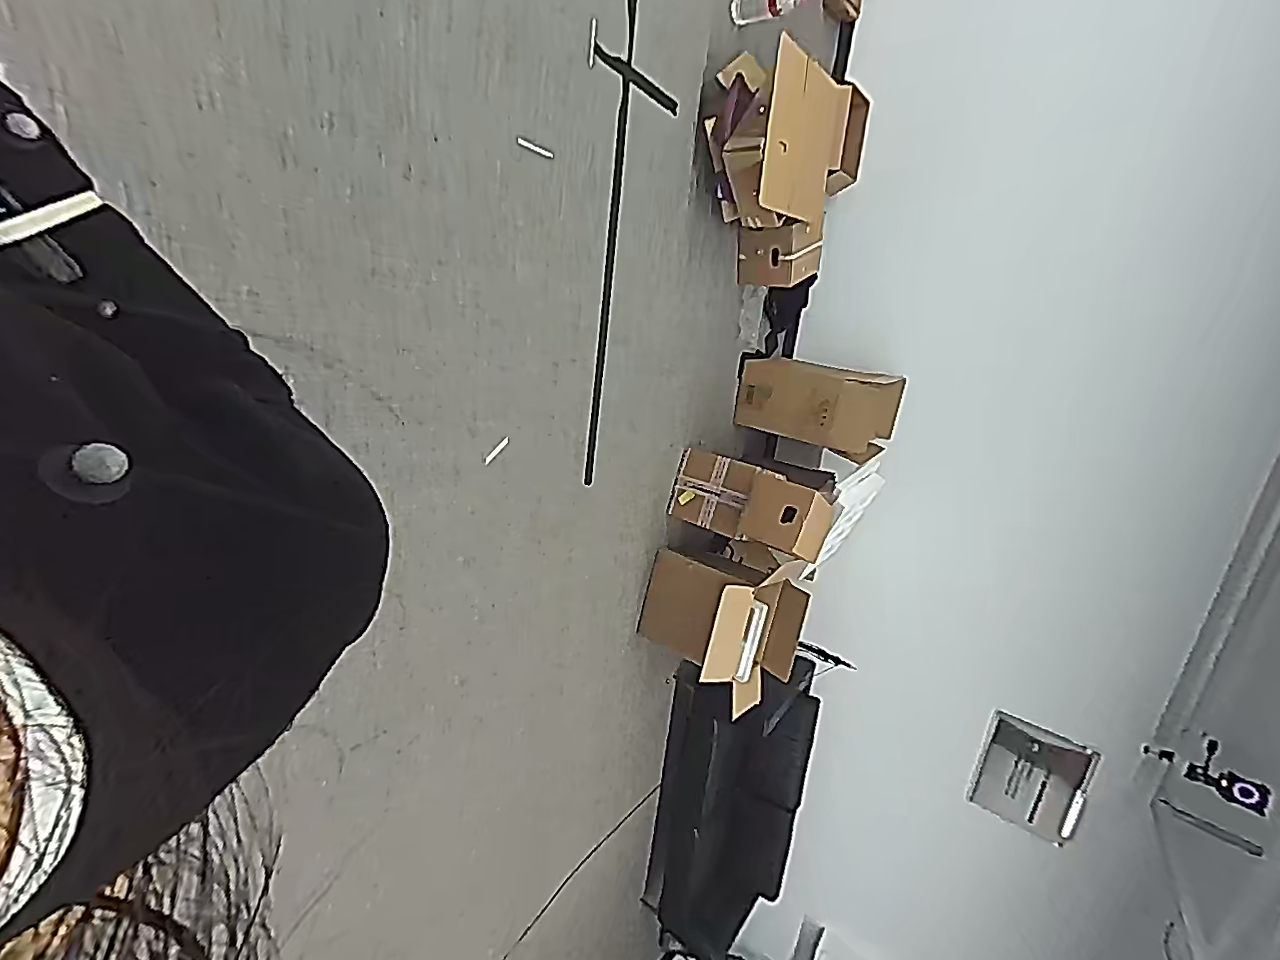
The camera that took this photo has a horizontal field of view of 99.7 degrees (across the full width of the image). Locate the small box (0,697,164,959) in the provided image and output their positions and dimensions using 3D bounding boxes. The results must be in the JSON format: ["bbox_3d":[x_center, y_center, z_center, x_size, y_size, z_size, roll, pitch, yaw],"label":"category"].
[{"bbox_3d":[-0.604,0.342,0.528,0.168,0.176,0.179,-14,117,-52],"label":"small box"}]
